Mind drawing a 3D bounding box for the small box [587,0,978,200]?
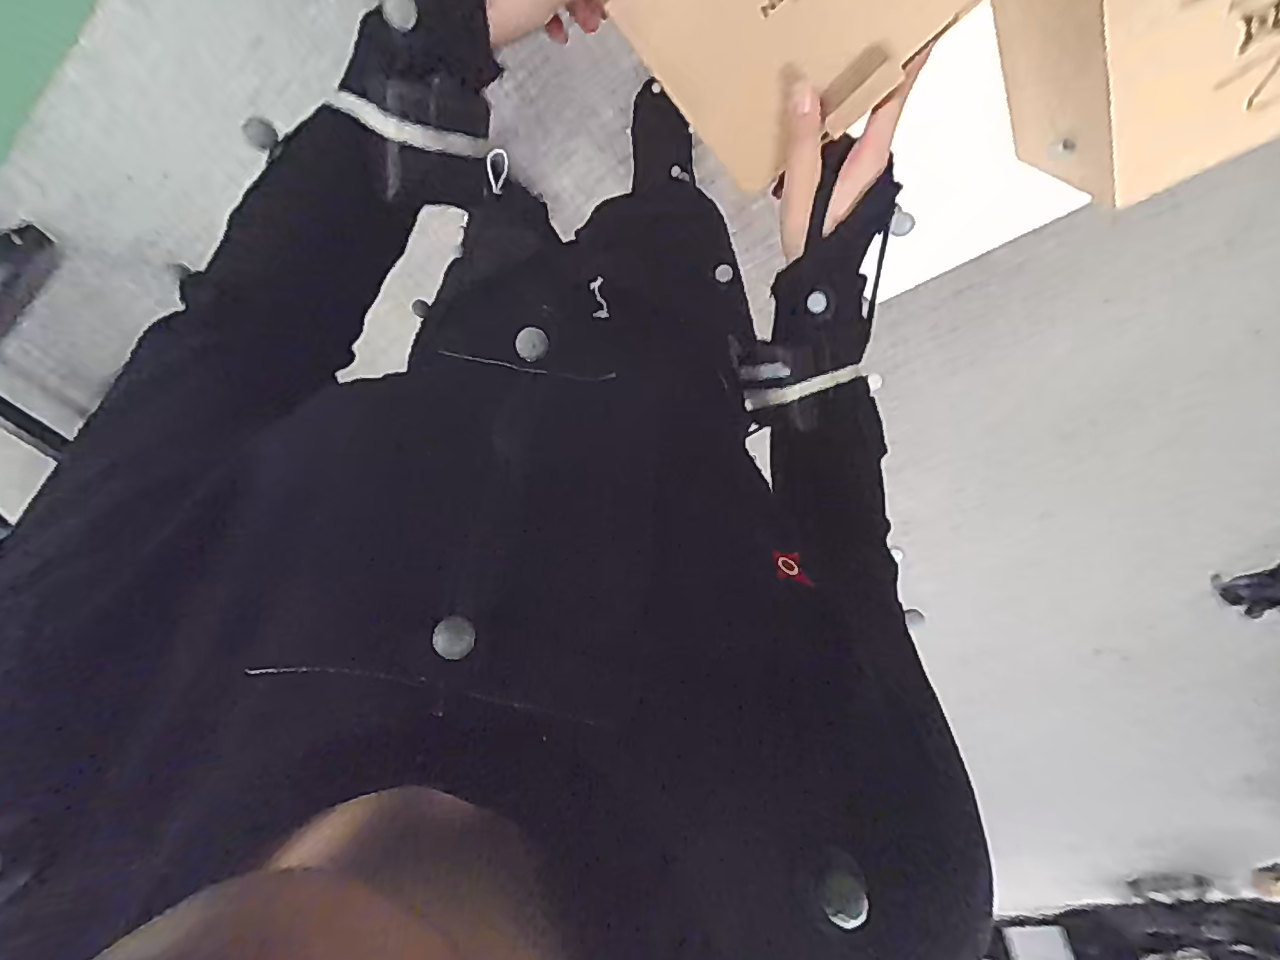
[{"bbox_3d":[0.085,-0.321,0.331,0.179,0.176,0.168,42,132,-20],"label":"small box"}]
